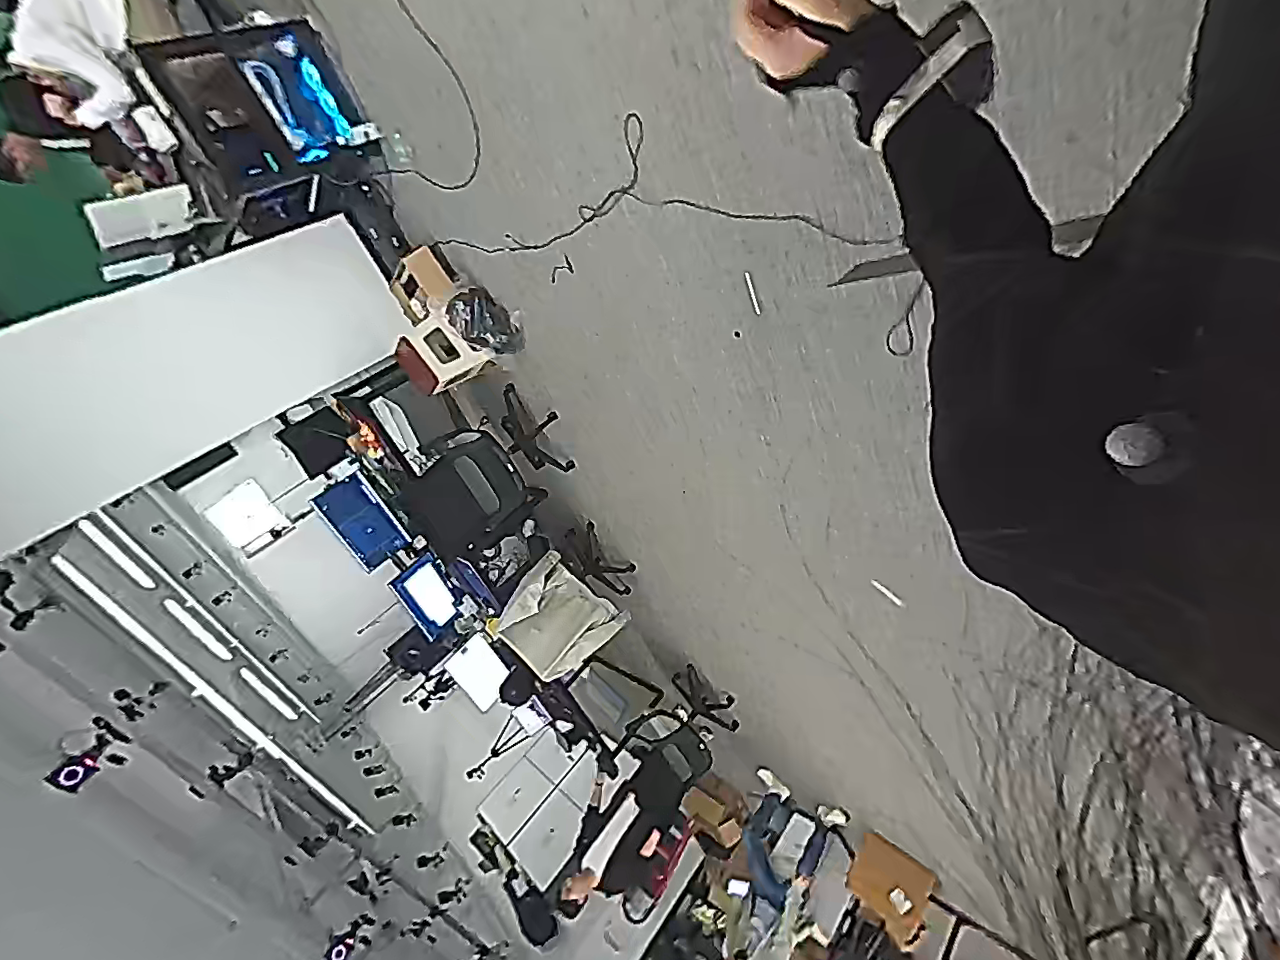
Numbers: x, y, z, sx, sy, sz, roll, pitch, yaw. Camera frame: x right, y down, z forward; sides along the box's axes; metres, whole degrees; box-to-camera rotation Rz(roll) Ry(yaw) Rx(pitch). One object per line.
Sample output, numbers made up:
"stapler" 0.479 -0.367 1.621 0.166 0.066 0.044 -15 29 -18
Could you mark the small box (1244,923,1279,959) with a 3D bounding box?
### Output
"small box" 1.368 1.068 1.106 0.168 0.176 0.179 9 132 46
